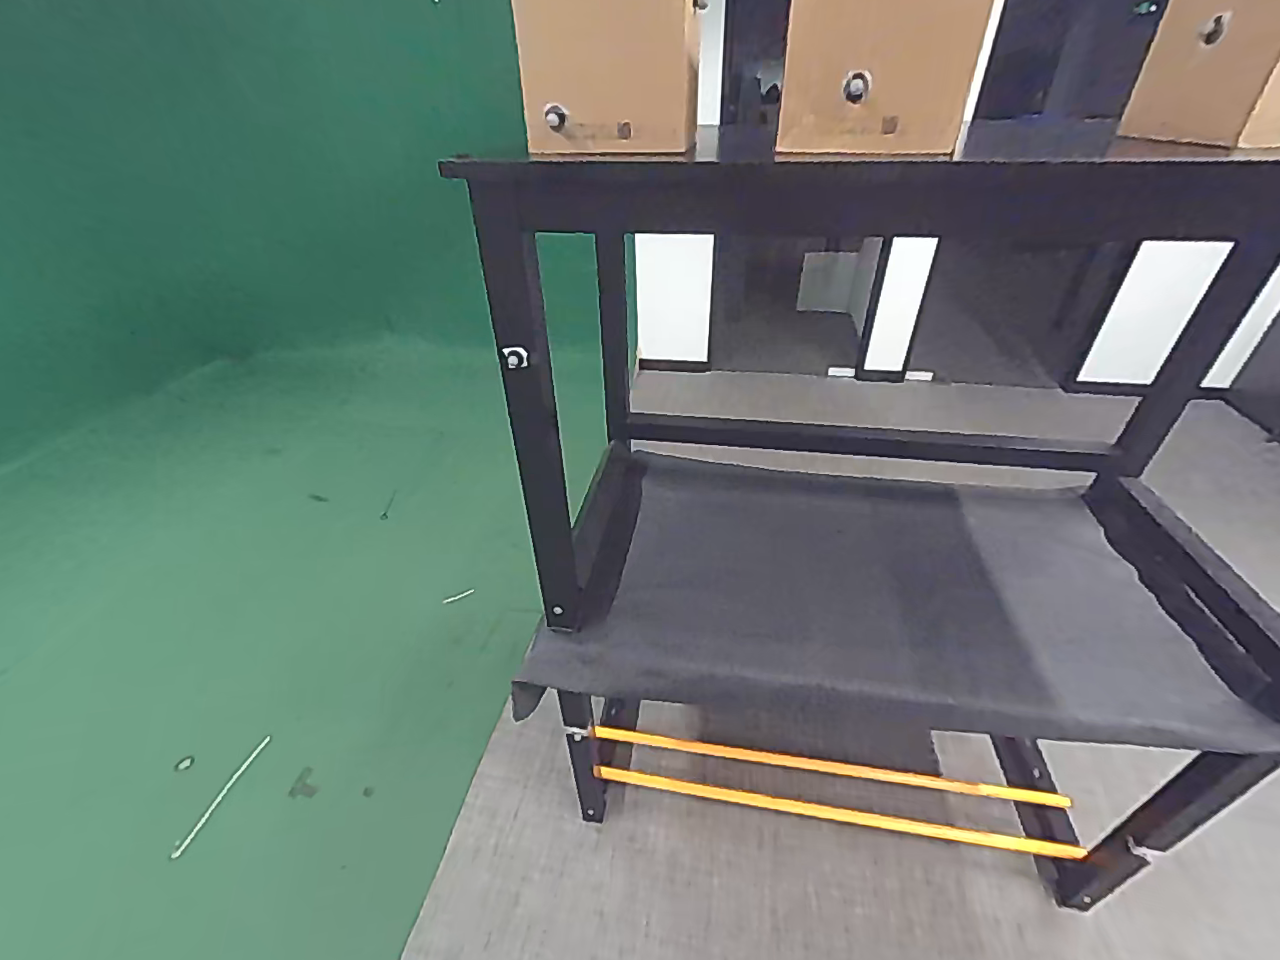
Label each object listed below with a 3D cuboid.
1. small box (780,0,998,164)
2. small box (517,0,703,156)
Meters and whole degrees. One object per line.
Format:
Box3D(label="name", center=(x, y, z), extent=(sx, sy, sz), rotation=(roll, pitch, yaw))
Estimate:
Box3D(label="small box", center=(0.241, -0.427, 0.545), extent=(0.168, 0.176, 0.179), rotation=(10, 37, 15))
Box3D(label="small box", center=(-0.020, -0.451, 0.582), extent=(0.168, 0.176, 0.179), rotation=(5, 35, 8))
